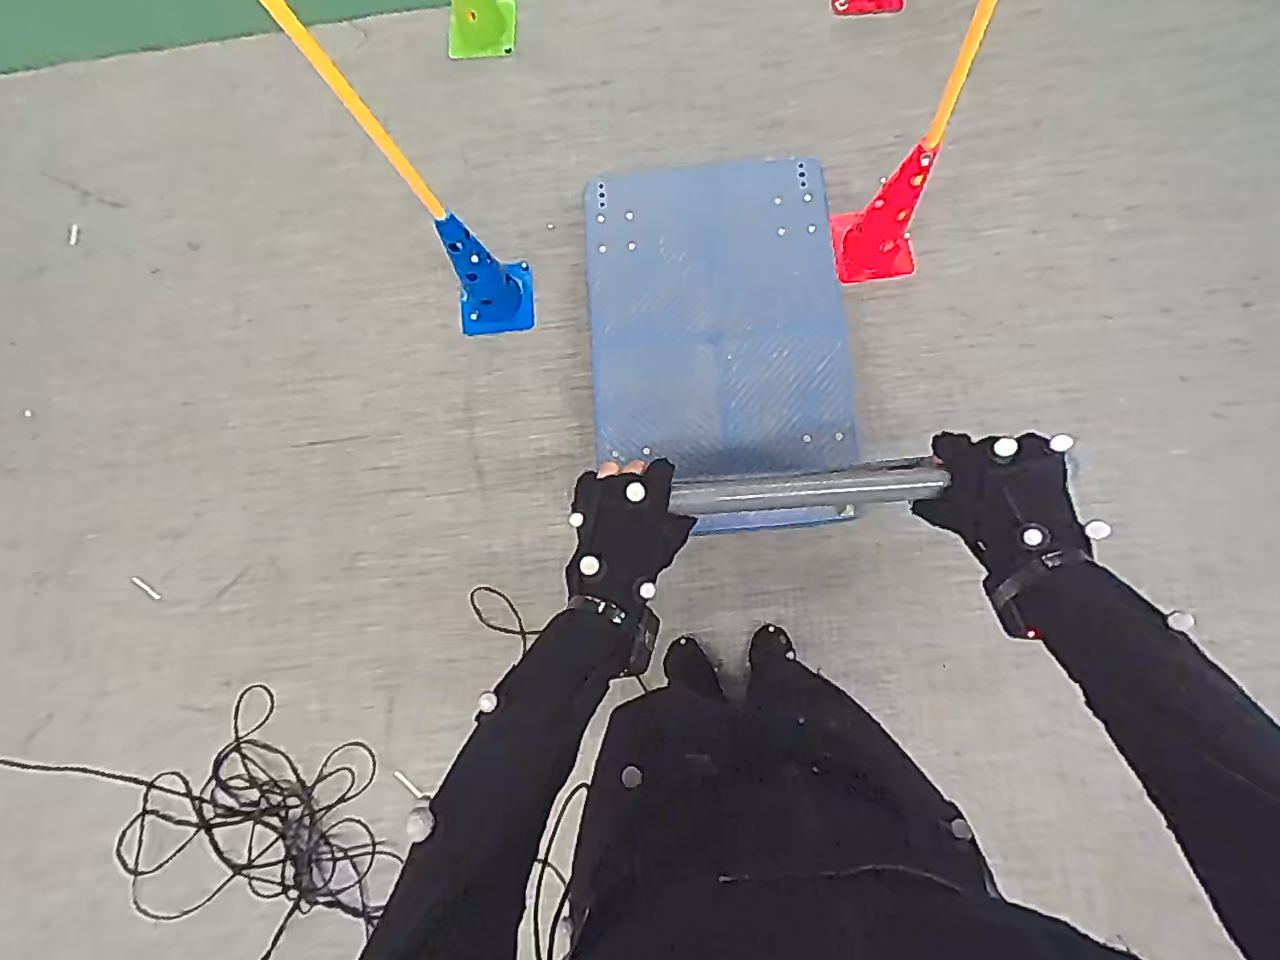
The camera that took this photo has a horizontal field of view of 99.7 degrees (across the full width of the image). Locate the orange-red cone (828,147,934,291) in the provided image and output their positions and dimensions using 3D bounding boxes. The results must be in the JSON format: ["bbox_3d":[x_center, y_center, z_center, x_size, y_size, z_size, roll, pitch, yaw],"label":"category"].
[{"bbox_3d":[0.597,-0.634,1.277,0.199,0.360,0.198,-7,79,4],"label":"orange-red cone"}]

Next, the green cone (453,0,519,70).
[{"bbox_3d":[-0.480,-1.370,1.473,0.202,0.368,0.200,-2,79,5],"label":"green cone"}]
